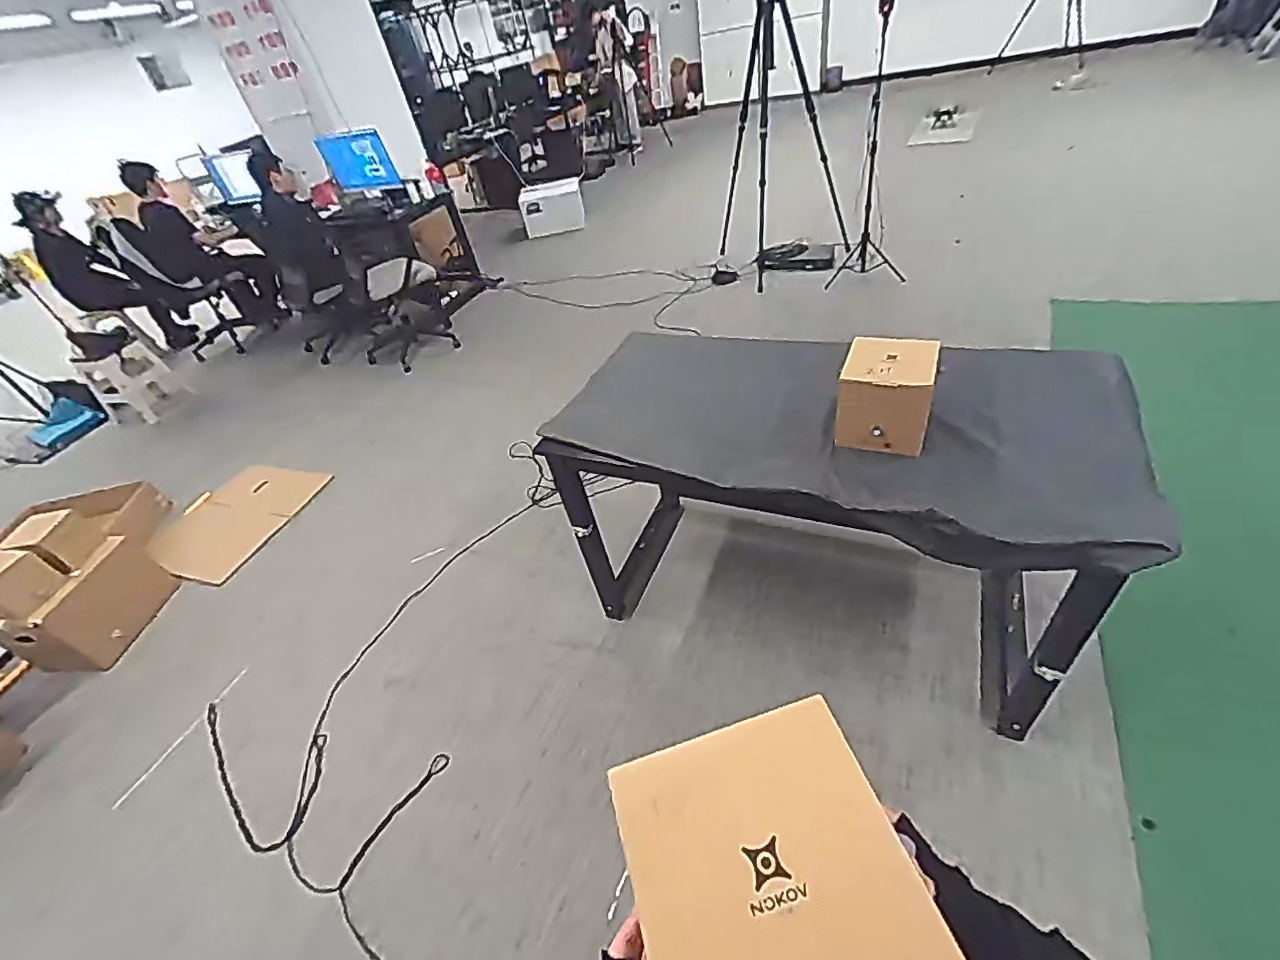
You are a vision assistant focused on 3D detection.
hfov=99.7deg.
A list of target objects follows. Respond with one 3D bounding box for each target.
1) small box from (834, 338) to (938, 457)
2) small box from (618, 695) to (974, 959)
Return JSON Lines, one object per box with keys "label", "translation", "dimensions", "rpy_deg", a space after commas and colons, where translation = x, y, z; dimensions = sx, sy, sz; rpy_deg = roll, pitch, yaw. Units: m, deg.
{"label": "small box", "translation": [0.506, -0.173, 1.122], "dimensions": [0.168, 0.176, 0.179], "rpy_deg": [11, 46, 25]}
{"label": "small box", "translation": [0.091, 0.290, 0.382], "dimensions": [0.168, 0.176, 0.179], "rpy_deg": [-16, 46, -7]}
